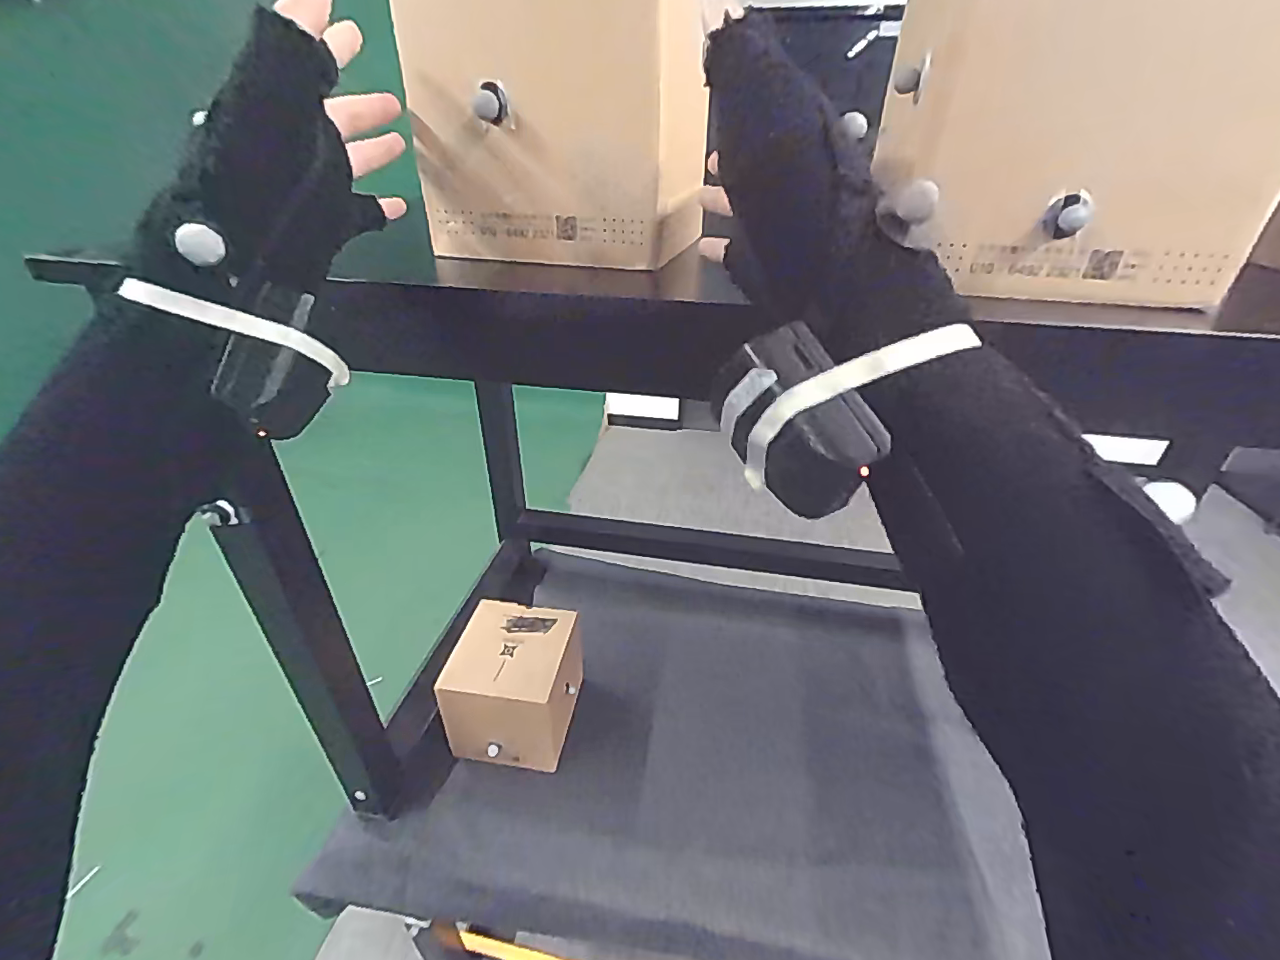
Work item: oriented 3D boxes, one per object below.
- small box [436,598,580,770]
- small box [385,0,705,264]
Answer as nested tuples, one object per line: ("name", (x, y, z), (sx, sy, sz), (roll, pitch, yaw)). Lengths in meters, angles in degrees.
("small box", (-0.193, 0.315, 0.848), (0.168, 0.176, 0.179), (5, 32, 7))
("small box", (-0.050, -0.262, 0.401), (0.168, 0.176, 0.179), (8, 31, 12))
